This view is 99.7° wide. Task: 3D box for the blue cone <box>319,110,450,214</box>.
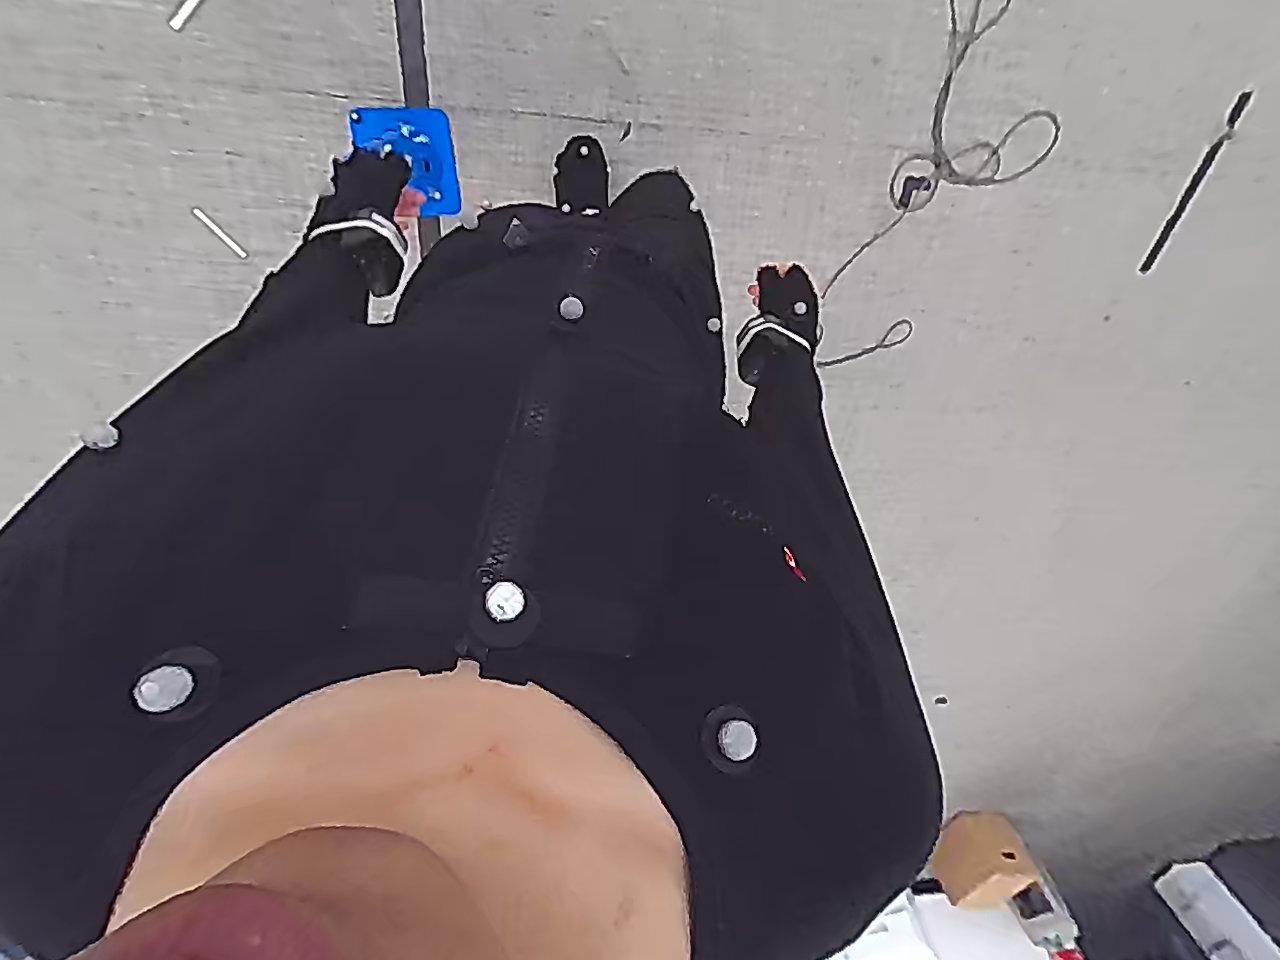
[{"bbox_3d":[-0.494,-0.586,1.011,0.192,0.380,0.193,-1,122,-5],"label":"blue cone"}]
